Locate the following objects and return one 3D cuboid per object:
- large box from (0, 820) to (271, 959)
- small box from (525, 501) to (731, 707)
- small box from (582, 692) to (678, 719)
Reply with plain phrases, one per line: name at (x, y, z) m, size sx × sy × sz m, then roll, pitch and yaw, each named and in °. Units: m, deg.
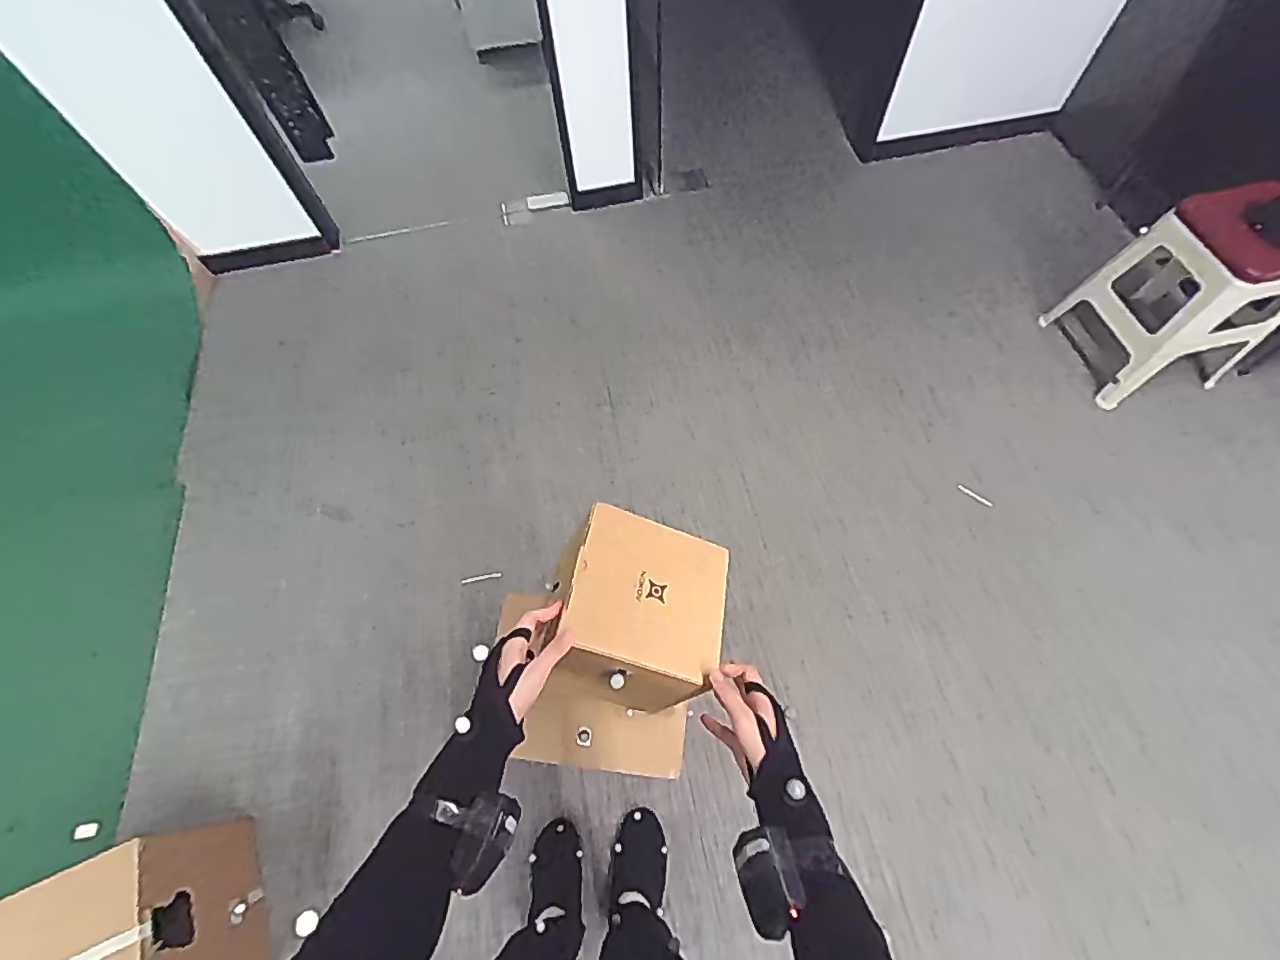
large box at (-1.014, 0.919, 1.027) m, size 0.408 × 0.320 × 0.320 m, roll -24°, pitch 64°, yaw -8°
small box at (-0.016, 0.156, 0.637) m, size 0.179 × 0.176 × 0.168 m, roll 22°, pitch 54°, yaw -12°
small box at (-0.005, 0.332, 1.006) m, size 0.168 × 0.176 × 0.179 m, roll 6°, pitch 62°, yaw 6°
